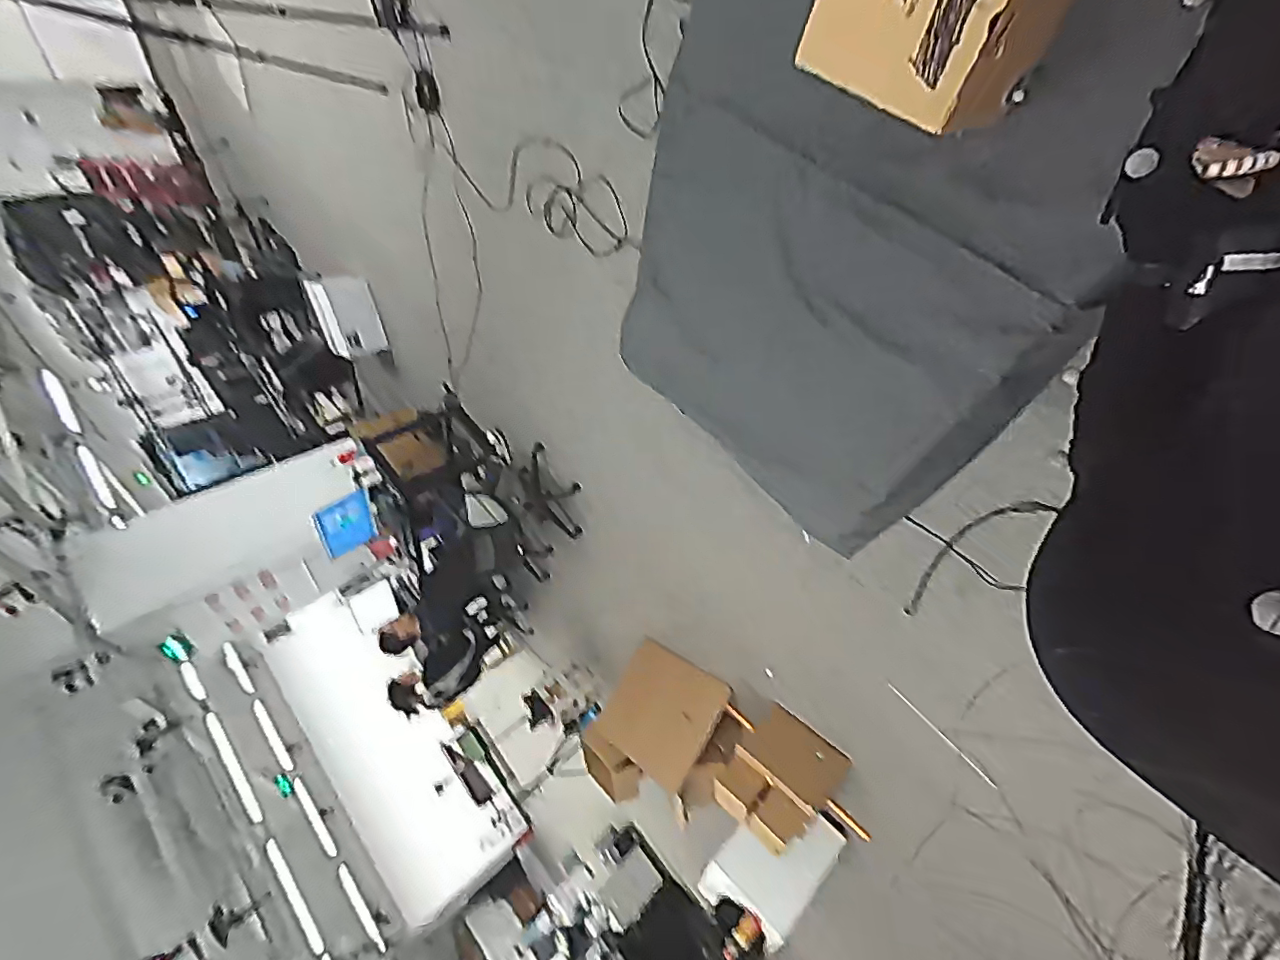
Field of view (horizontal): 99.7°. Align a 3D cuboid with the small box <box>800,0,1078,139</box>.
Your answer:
[{"bbox_3d":[0.298,-0.458,0.518,0.179,0.176,0.168,46,144,22],"label":"small box"}]
